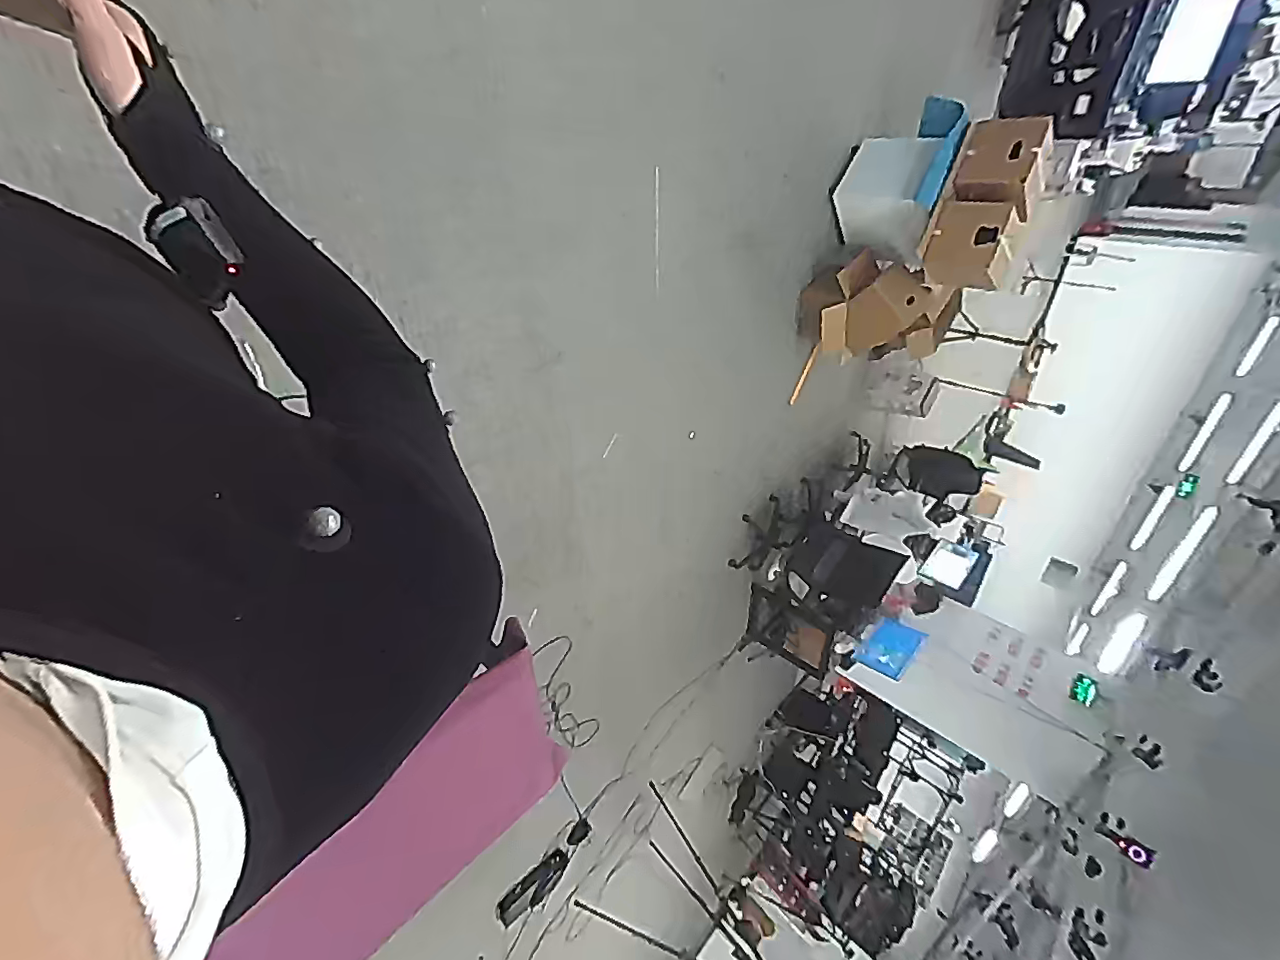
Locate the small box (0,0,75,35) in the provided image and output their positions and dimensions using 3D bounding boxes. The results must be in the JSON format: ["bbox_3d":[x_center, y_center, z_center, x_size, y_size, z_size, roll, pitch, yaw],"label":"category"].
[{"bbox_3d":[-0.493,-0.442,0.347,0.168,0.176,0.179,-2,111,-41],"label":"small box"}]
